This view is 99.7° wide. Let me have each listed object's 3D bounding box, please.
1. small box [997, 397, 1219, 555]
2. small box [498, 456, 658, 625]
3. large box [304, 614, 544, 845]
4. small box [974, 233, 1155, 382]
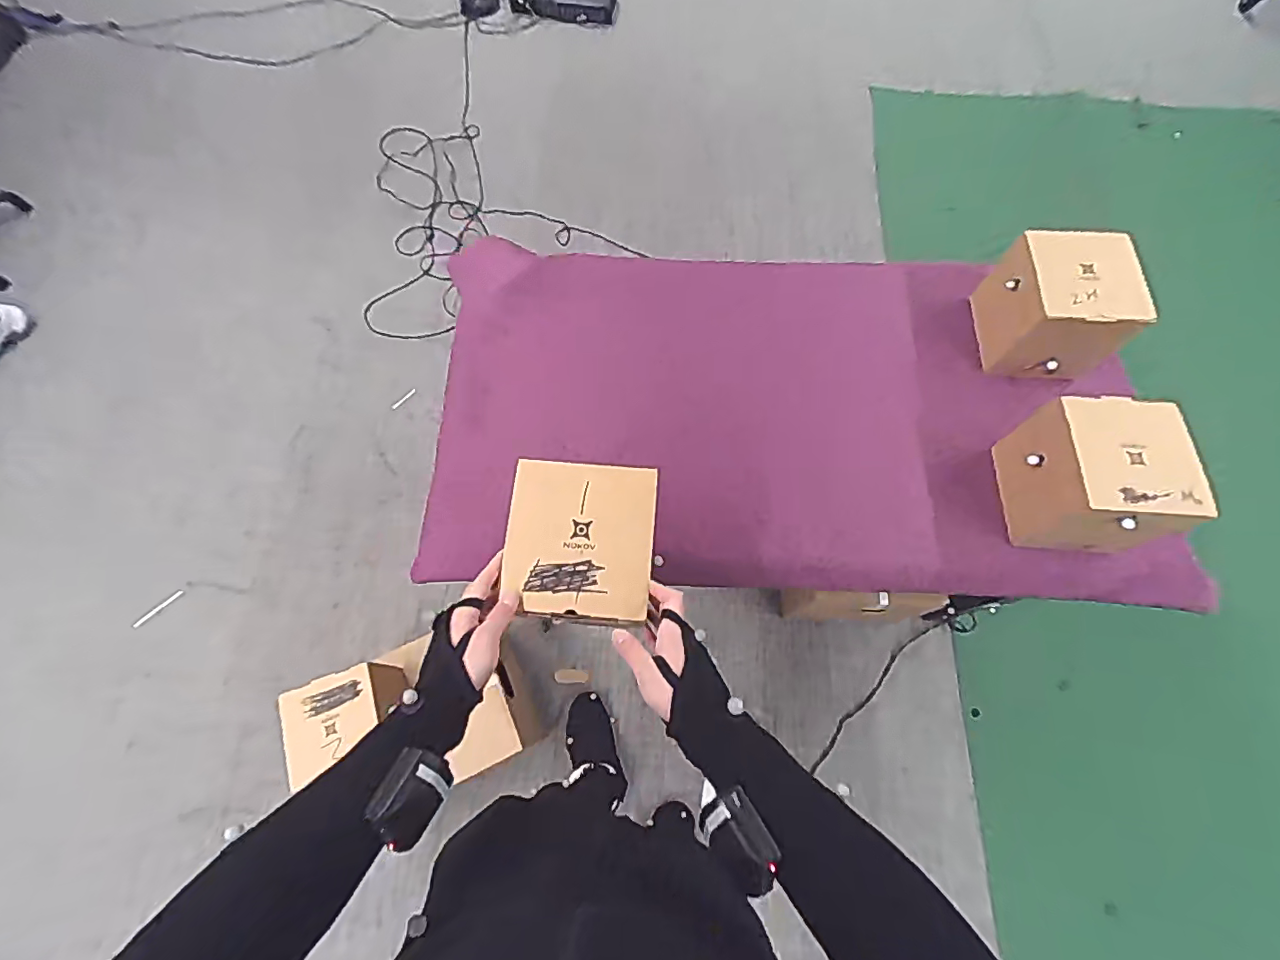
[{"bbox_3d":[0.672,-0.001,0.806,0.168,0.176,0.179,3,65,3],"label":"small box"},{"bbox_3d":[-0.065,0.085,0.680,0.168,0.176,0.179,4,71,1],"label":"small box"},{"bbox_3d":[-0.484,0.569,1.279,0.408,0.320,0.320,-23,71,-11],"label":"large box"},{"bbox_3d":[0.705,-0.290,0.925,0.168,0.176,0.179,3,69,3],"label":"small box"}]
